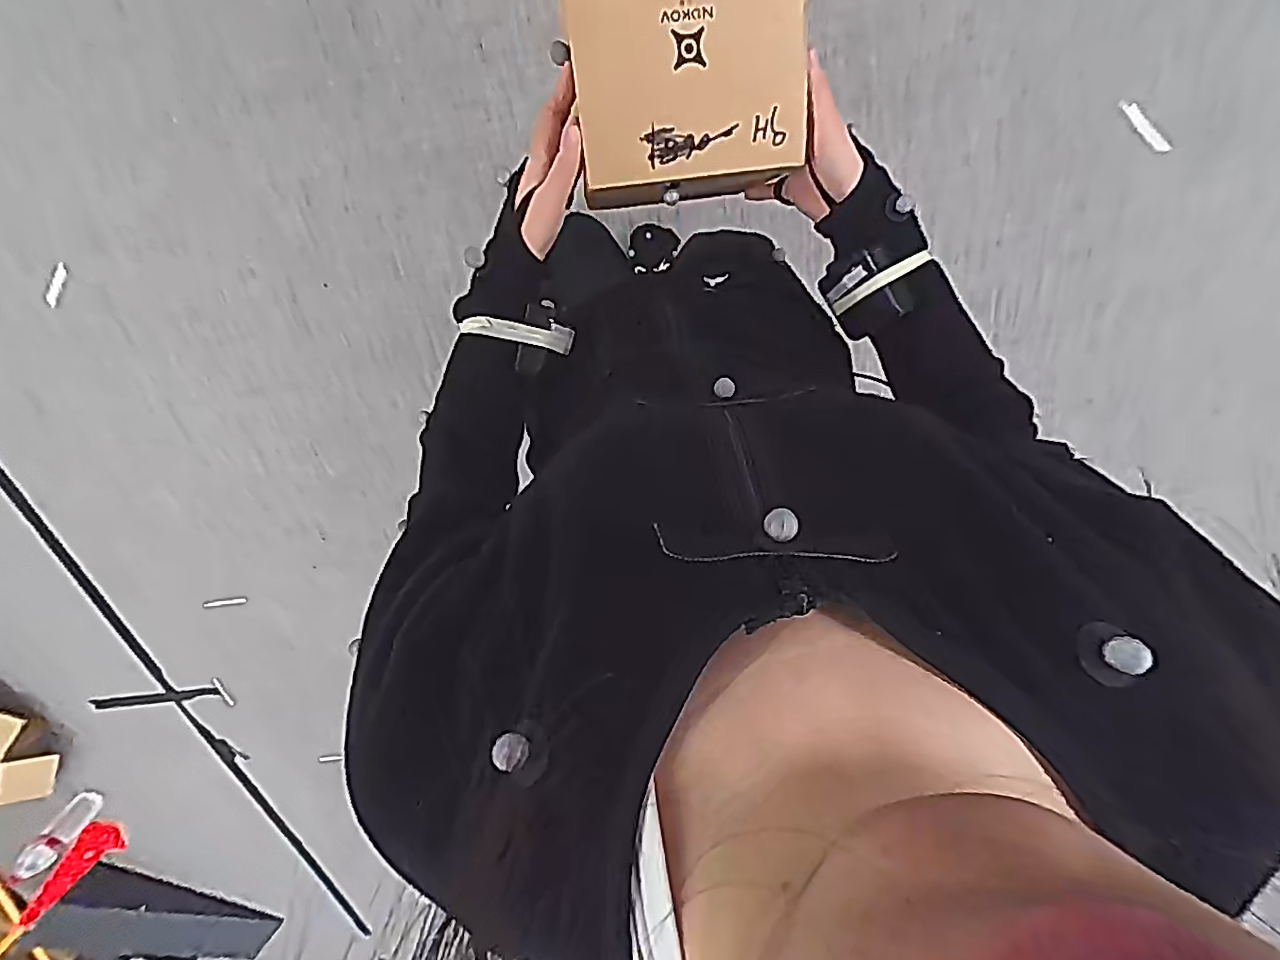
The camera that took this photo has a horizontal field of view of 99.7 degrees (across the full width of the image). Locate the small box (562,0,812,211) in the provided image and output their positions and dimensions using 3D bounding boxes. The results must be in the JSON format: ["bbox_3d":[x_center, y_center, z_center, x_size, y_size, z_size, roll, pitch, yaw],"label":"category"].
[{"bbox_3d":[0.028,-0.331,0.440,0.168,0.176,0.179,-8,112,-3],"label":"small box"}]

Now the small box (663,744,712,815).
[{"bbox_3d":[0.182,1.155,2.085,0.168,0.176,0.179,-10,116,5],"label":"small box"}]
